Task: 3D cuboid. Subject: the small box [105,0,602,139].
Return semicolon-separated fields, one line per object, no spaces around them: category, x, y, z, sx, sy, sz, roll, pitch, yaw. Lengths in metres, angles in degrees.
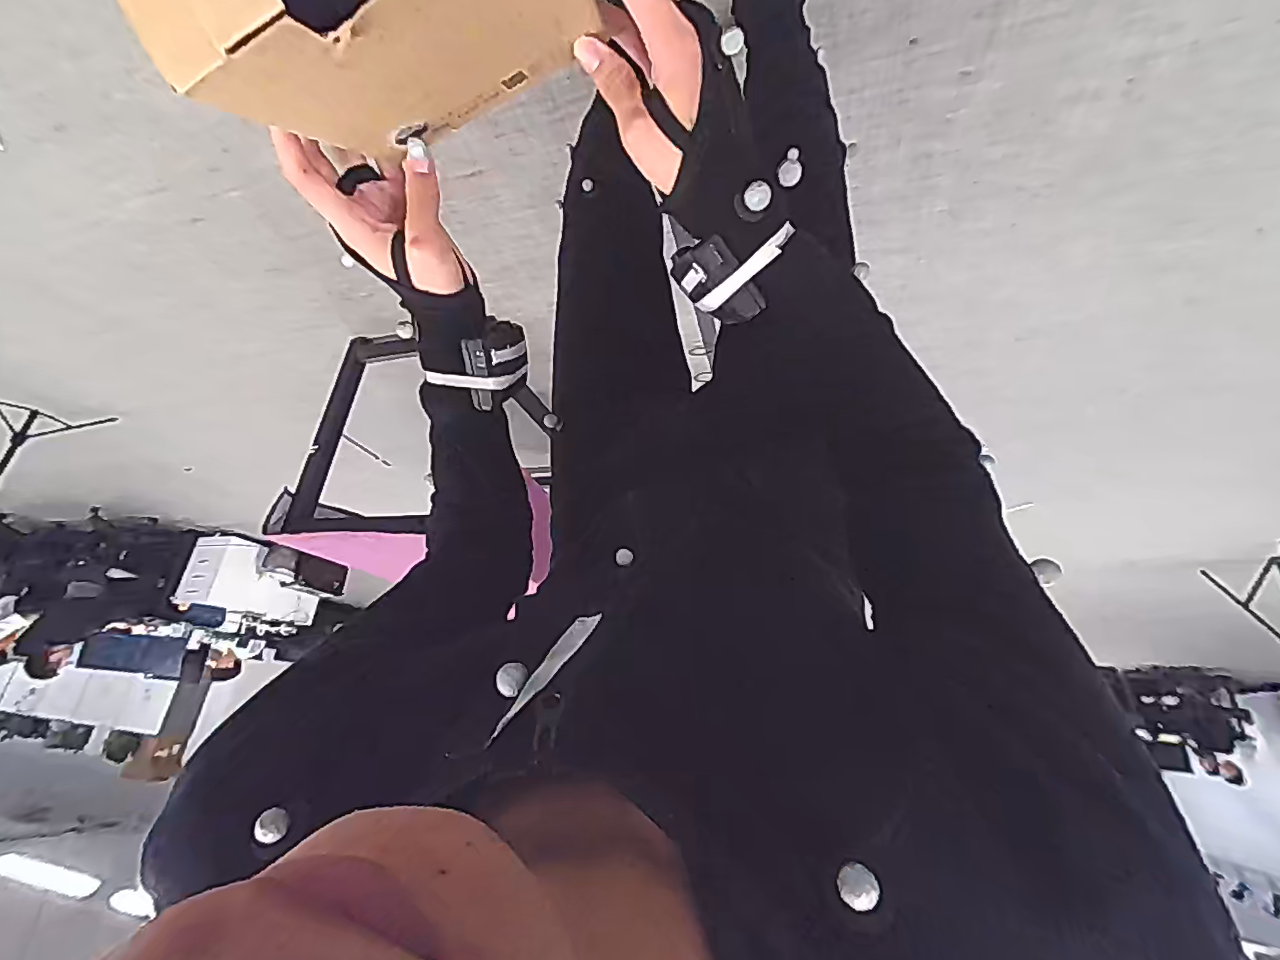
small box;-0.131;-0.279;0.235;0.168;0.176;0.179;-19;107;14
